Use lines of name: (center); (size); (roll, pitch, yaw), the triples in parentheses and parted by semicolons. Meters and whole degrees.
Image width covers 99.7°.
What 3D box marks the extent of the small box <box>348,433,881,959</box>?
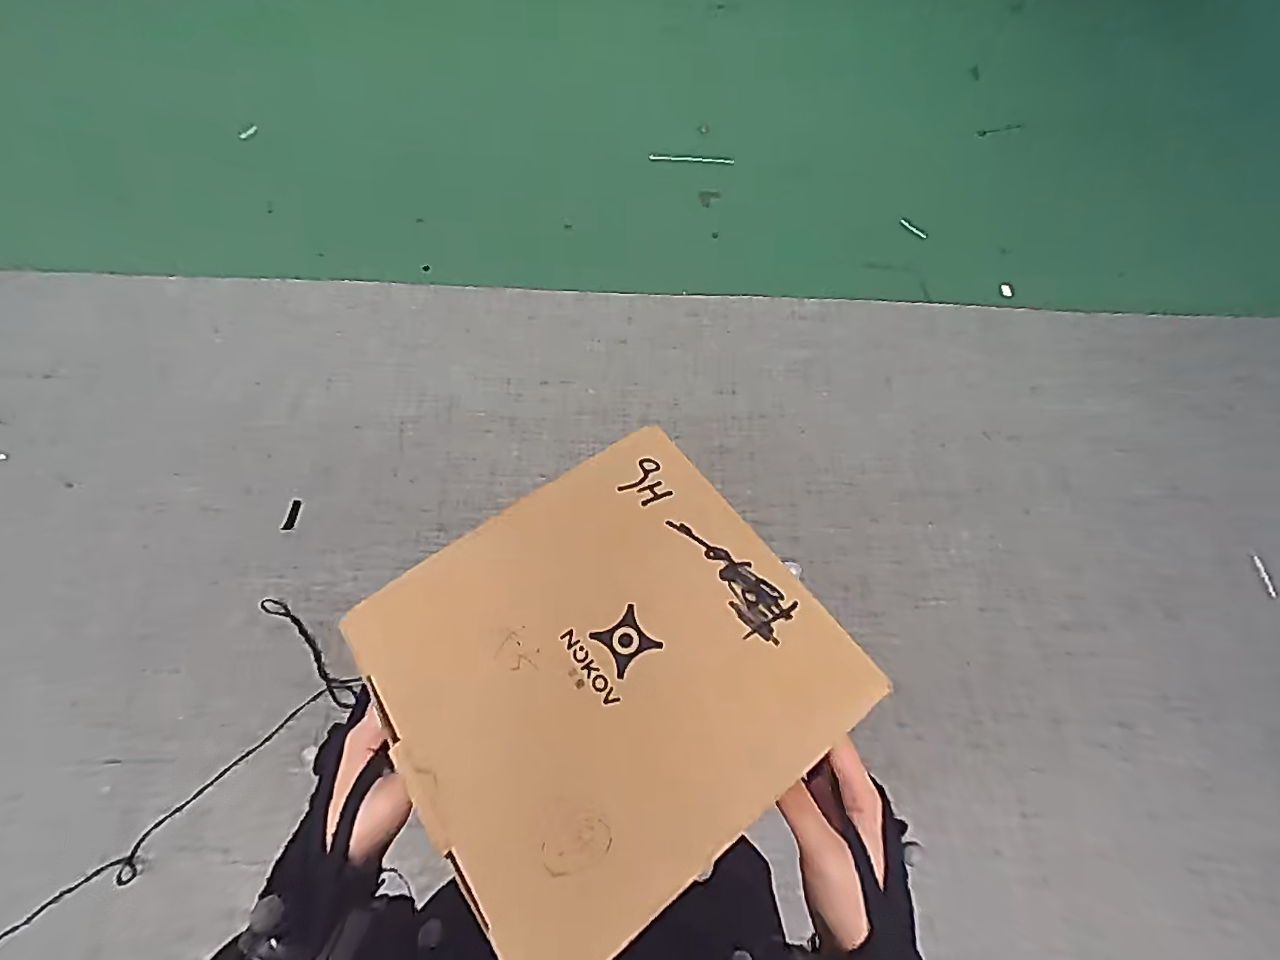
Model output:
small box: (-0.012, 0.114, 0.300); (0.179, 0.176, 0.168); (-33, 66, -16)
